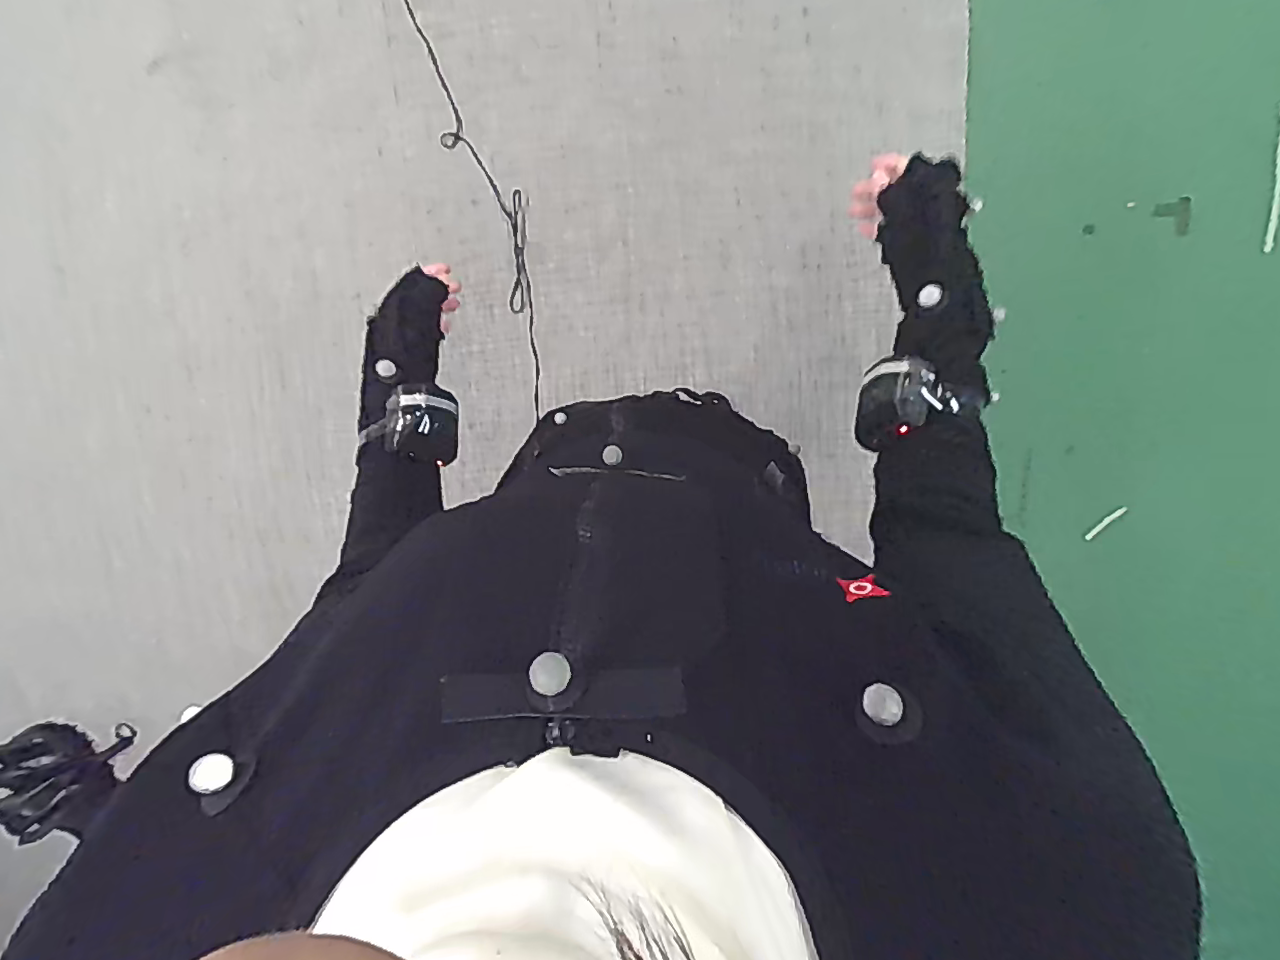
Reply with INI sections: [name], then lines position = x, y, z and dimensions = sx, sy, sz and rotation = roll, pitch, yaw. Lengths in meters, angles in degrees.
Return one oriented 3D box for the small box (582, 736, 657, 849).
[small box]
position = -0.044, 0.751, 1.309
dimensions = 0.168, 0.176, 0.179
rotation = -2, 98, 3
